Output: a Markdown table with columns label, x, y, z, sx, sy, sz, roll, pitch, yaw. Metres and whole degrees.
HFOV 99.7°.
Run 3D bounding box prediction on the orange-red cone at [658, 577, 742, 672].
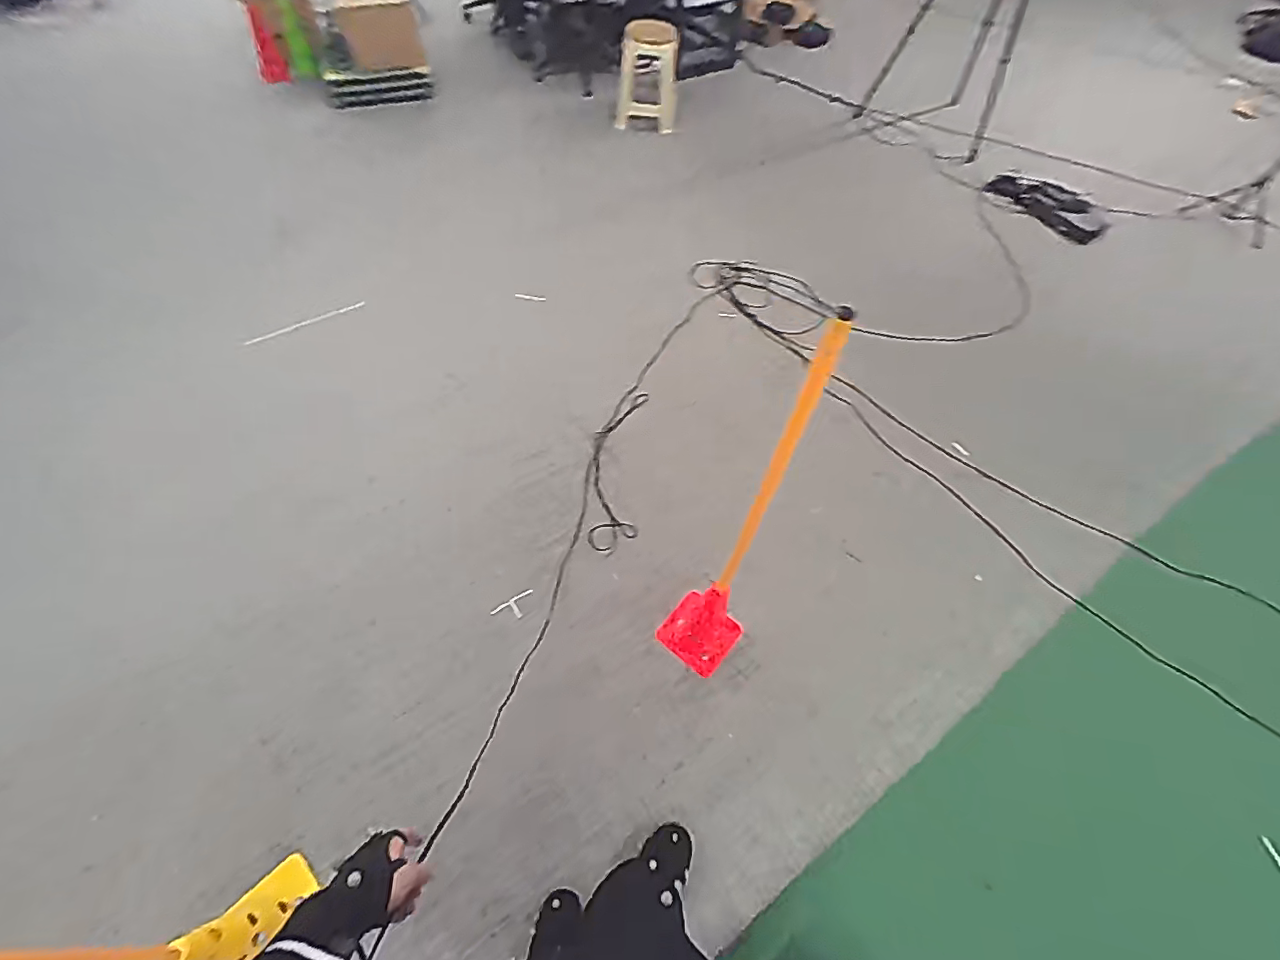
| label | x | y | z | sx | sy | sz | roll | pitch | yaw |
| --- | --- | --- | --- | --- | --- | --- | --- | --- | --- |
| orange-red cone | 0.193 | 0.346 | 1.459 | 0.198 | 0.360 | 0.199 | 38 | 61 | 18 |
